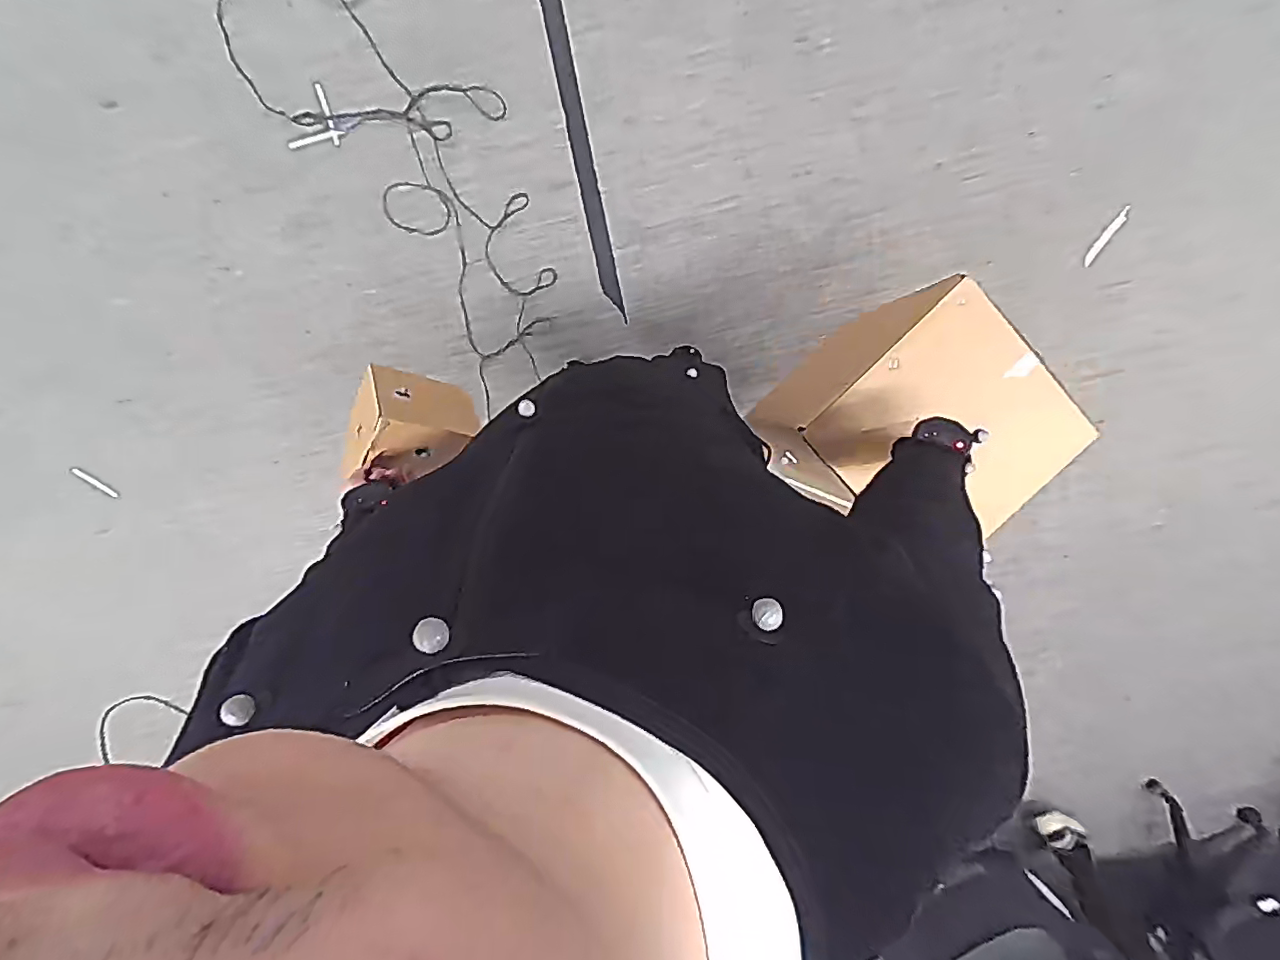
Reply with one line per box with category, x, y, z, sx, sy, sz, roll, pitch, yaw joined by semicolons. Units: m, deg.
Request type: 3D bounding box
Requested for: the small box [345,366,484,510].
small box;-0.385;-0.064;0.921;0.176;0.179;0.168;15;118;-39
